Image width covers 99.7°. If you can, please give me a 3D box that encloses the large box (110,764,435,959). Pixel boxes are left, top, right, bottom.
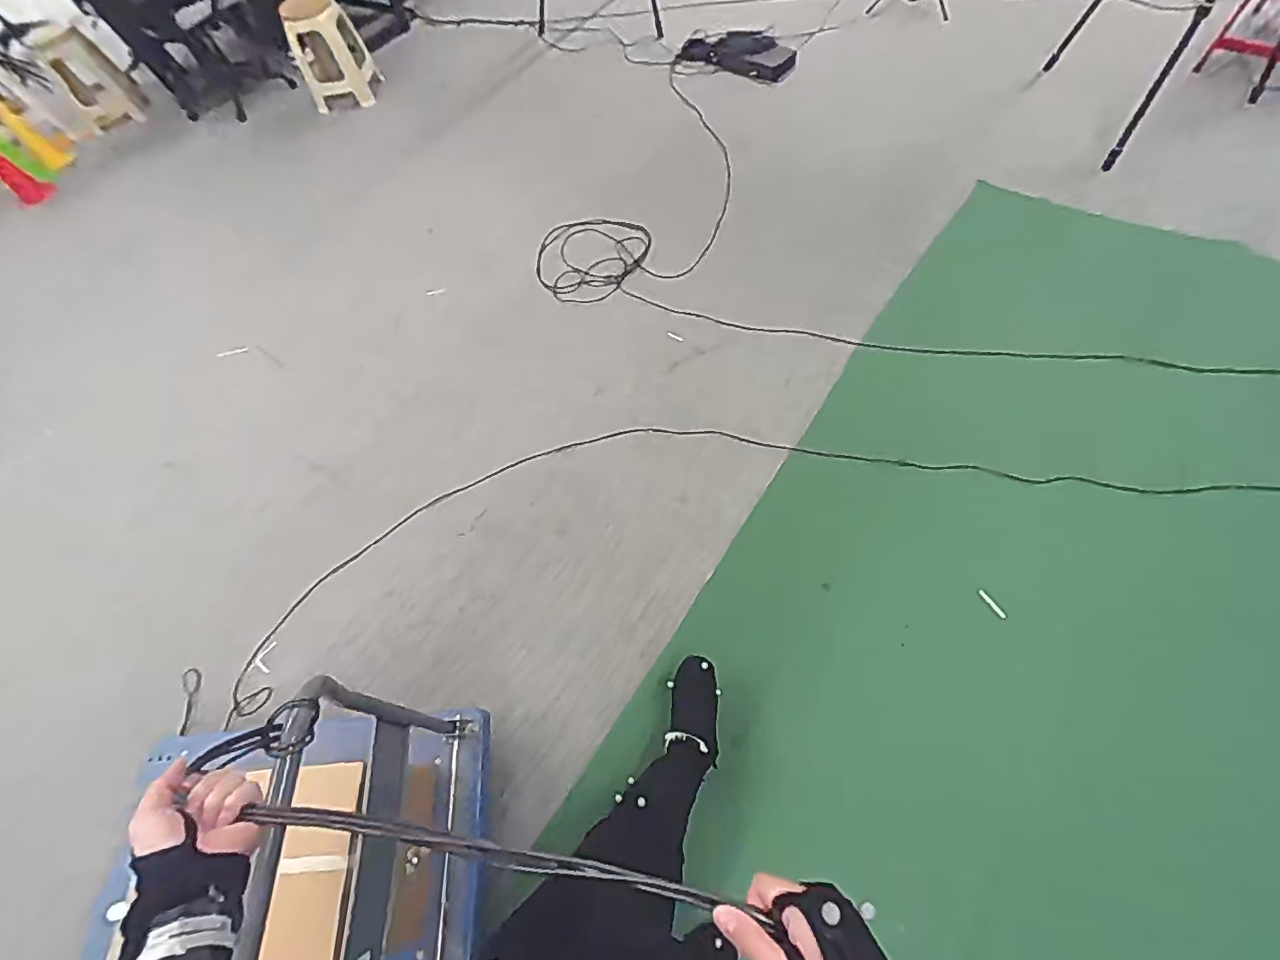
[{"bbox_3d":[-0.667,0.755,1.057,0.408,0.320,0.320,-8,59,4],"label":"large box"}]
